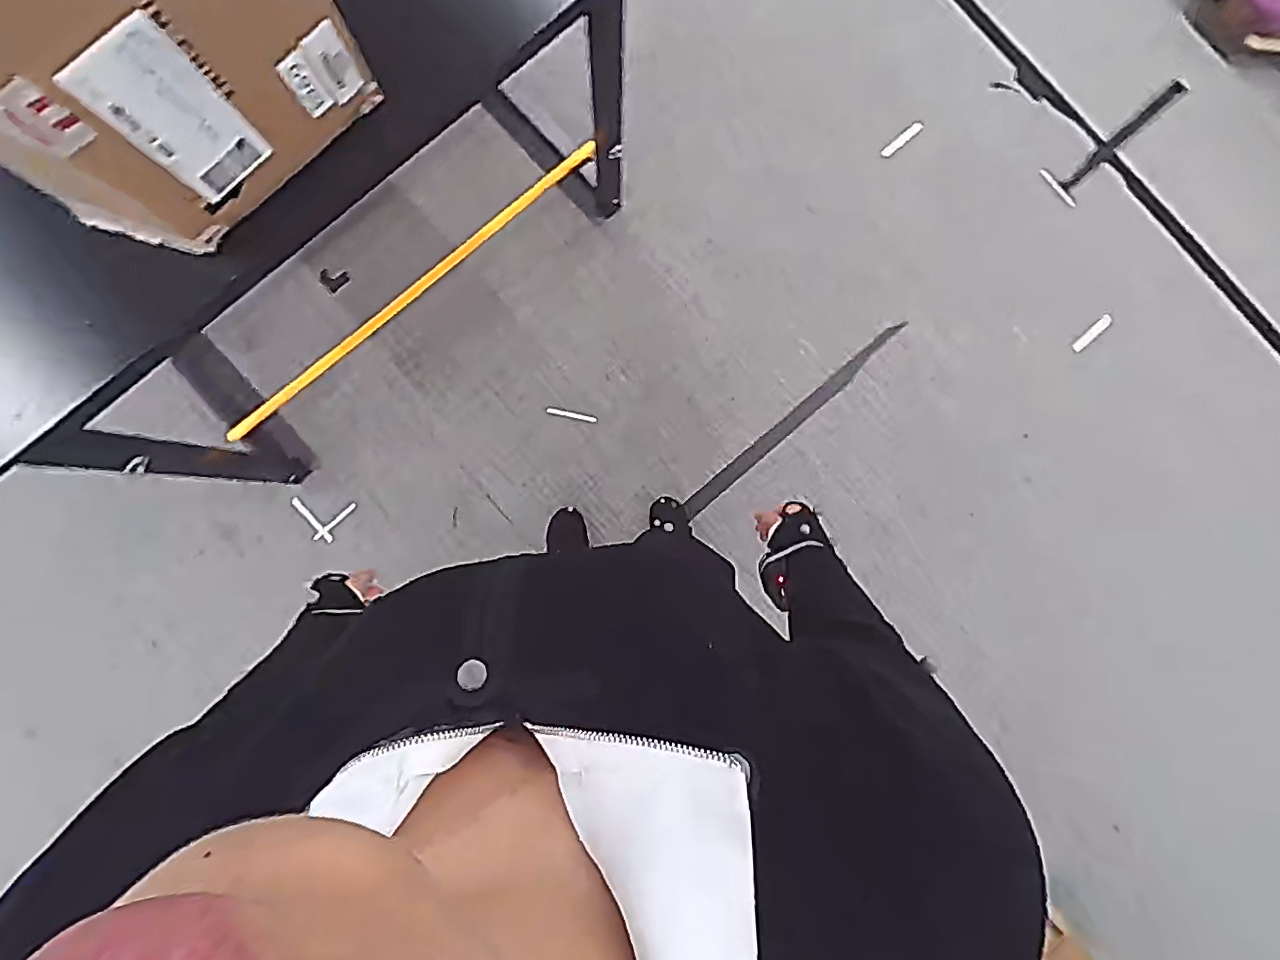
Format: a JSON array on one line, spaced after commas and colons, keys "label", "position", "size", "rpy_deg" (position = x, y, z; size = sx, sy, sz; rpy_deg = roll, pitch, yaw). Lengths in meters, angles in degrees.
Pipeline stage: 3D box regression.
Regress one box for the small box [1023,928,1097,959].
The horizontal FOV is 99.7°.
[{"label": "small box", "position": [1.098, 1.275, 1.328], "size": [0.168, 0.176, 0.179], "rpy_deg": [-42, 91, -4]}]
